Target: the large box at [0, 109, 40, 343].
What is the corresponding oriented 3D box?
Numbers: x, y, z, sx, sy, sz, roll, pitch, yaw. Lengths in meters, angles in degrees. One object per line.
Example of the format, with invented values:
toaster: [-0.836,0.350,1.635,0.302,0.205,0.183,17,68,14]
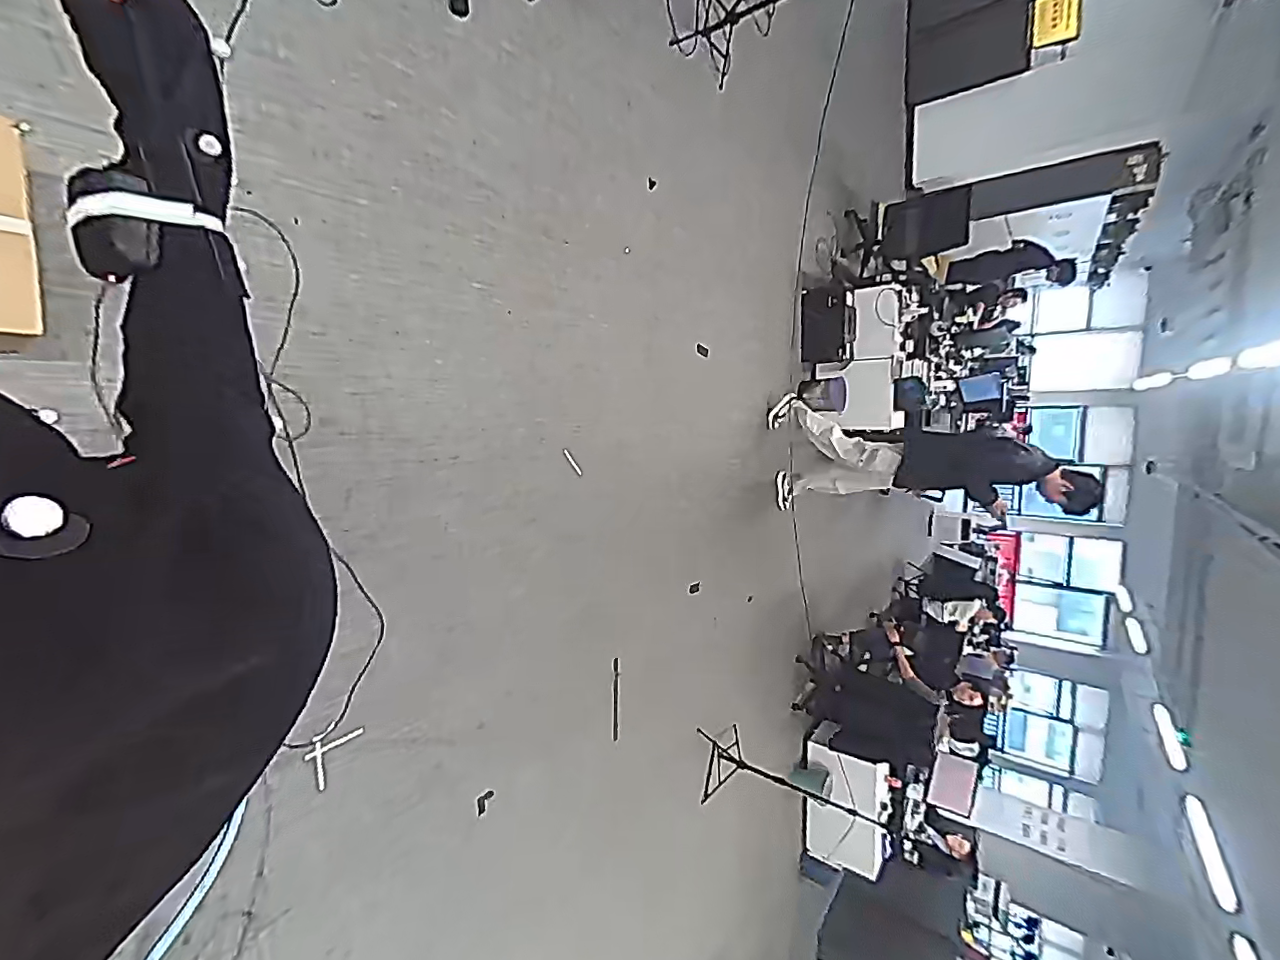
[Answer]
large box: [-1.154,-0.376,0.736,0.408,0.320,0.320,-8,101,-53]
